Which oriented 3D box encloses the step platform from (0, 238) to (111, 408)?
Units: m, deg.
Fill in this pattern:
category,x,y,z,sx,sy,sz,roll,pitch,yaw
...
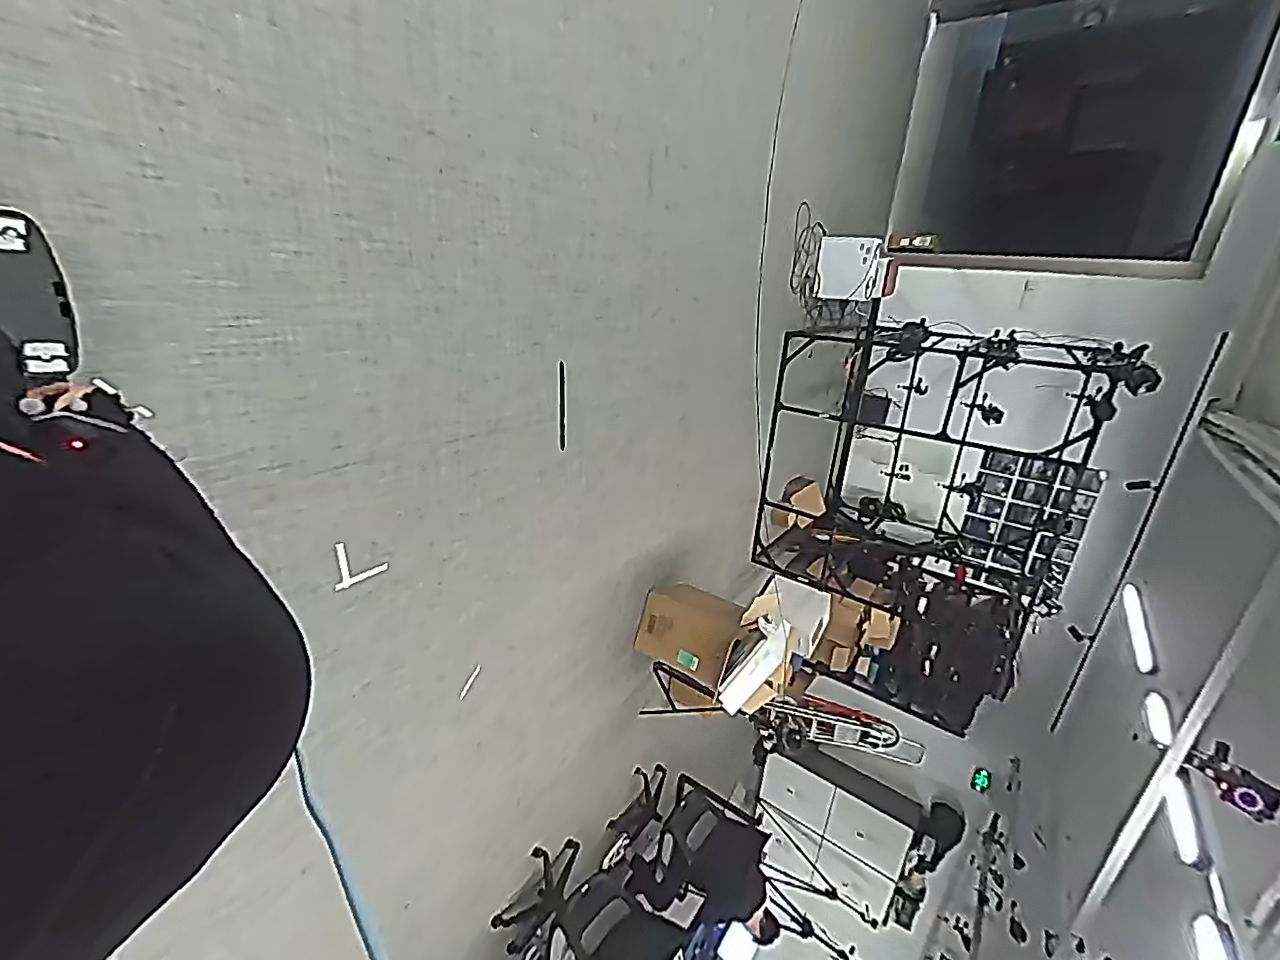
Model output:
category,x,y,z,sx,sy,sz,roll,pitch,yaw
step platform,-1.254,-0.245,0.791,0.684,0.204,0.286,-17,118,-54
